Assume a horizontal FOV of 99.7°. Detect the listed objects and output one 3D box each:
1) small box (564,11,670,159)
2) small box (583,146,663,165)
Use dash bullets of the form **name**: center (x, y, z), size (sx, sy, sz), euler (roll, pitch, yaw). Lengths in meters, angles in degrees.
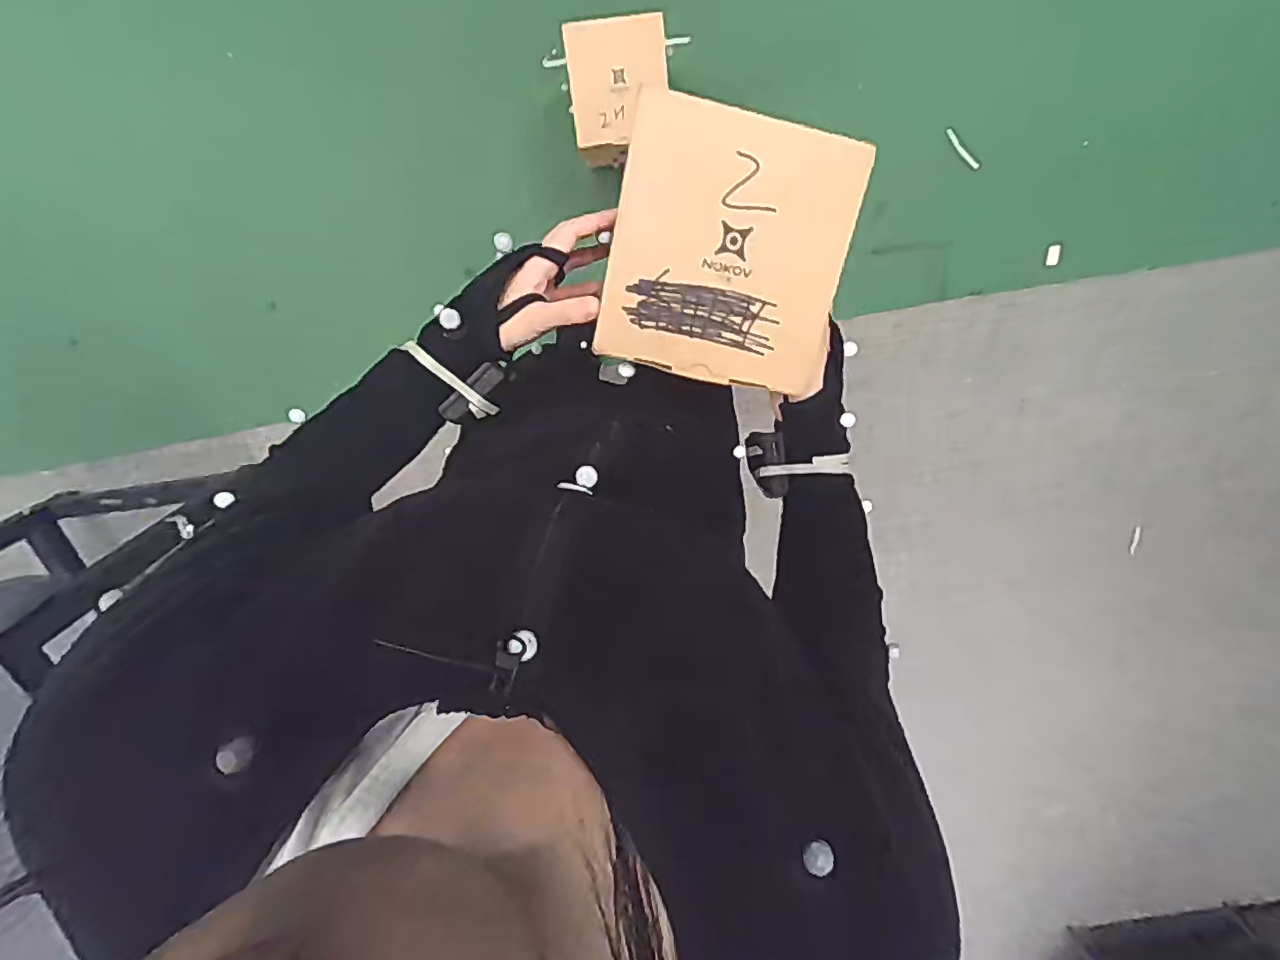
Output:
- **small box**: center (-0.041, -0.696, 0.971), size (0.168, 0.176, 0.179), euler (-6, 115, 0)
- **small box**: center (-0.046, -0.766, 1.122), size (0.168, 0.176, 0.179), euler (-9, 114, 1)
